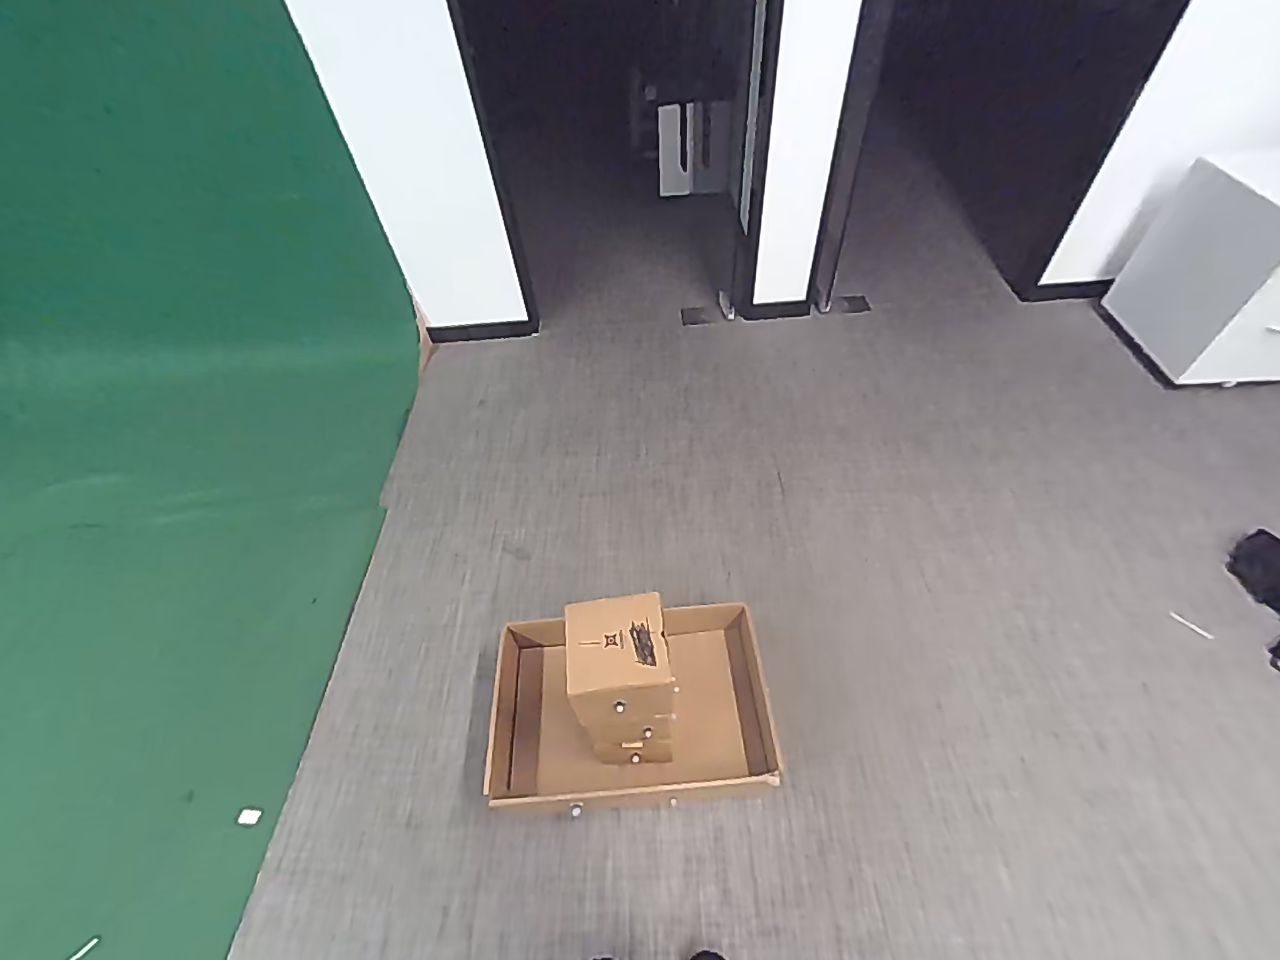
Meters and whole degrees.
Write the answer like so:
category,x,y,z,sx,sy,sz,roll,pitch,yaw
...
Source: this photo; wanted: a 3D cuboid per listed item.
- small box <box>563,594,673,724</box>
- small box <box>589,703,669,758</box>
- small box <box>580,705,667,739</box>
category,x,y,z,sx,sy,sz,roll,pitch,yaw
small box,-0.040,0.332,0.997,0.179,0.176,0.168,-9,51,-4
small box,-0.020,0.535,1.251,0.168,0.176,0.179,-3,50,3
small box,-0.031,0.430,1.128,0.168,0.176,0.179,-4,49,1
